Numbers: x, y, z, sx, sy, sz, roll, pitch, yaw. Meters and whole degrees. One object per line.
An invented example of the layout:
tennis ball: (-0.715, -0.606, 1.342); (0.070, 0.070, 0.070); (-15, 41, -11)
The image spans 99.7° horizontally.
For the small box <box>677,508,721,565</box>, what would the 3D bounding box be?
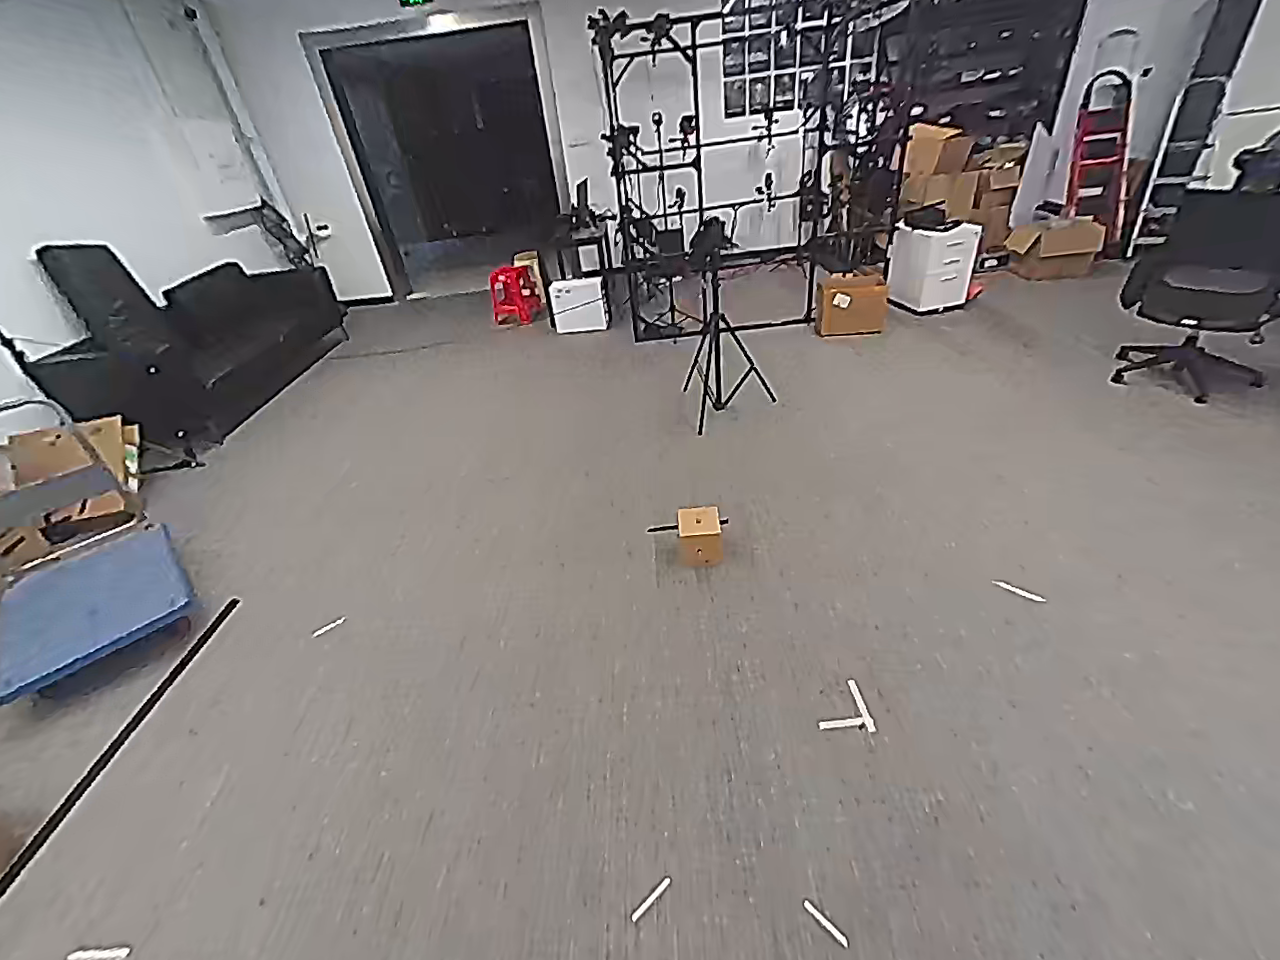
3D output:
small box: (0.245, 0.237, 2.235); (0.168, 0.176, 0.179); (-4, 33, 4)
